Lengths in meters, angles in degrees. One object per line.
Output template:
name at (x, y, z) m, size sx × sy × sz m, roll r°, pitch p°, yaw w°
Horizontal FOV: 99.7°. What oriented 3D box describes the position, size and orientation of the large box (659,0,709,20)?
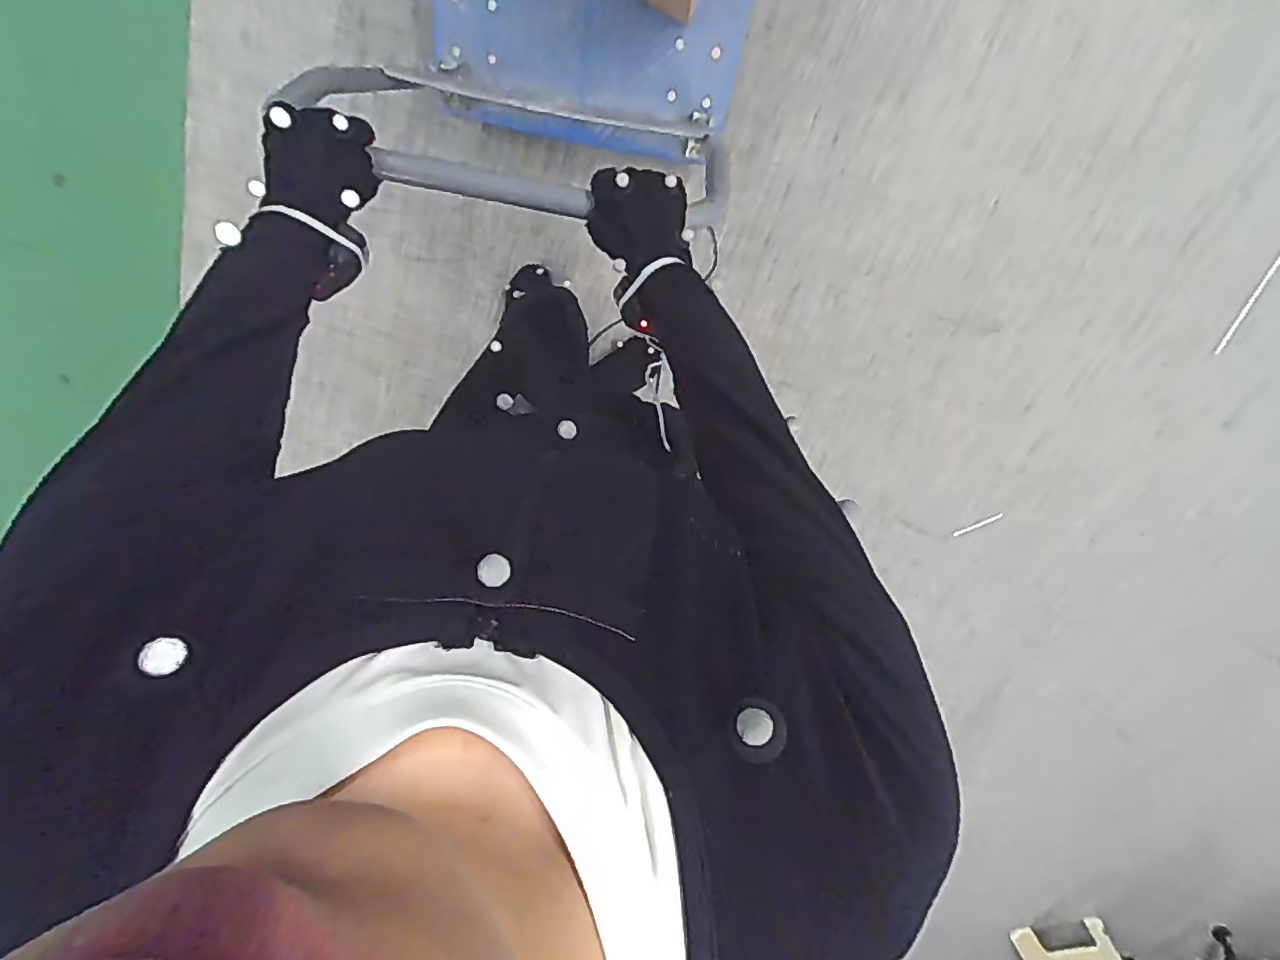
large box at (-0.021, -0.940, 0.755) m, size 0.408 × 0.320 × 0.320 m, roll 24°, pitch 122°, yaw -11°
